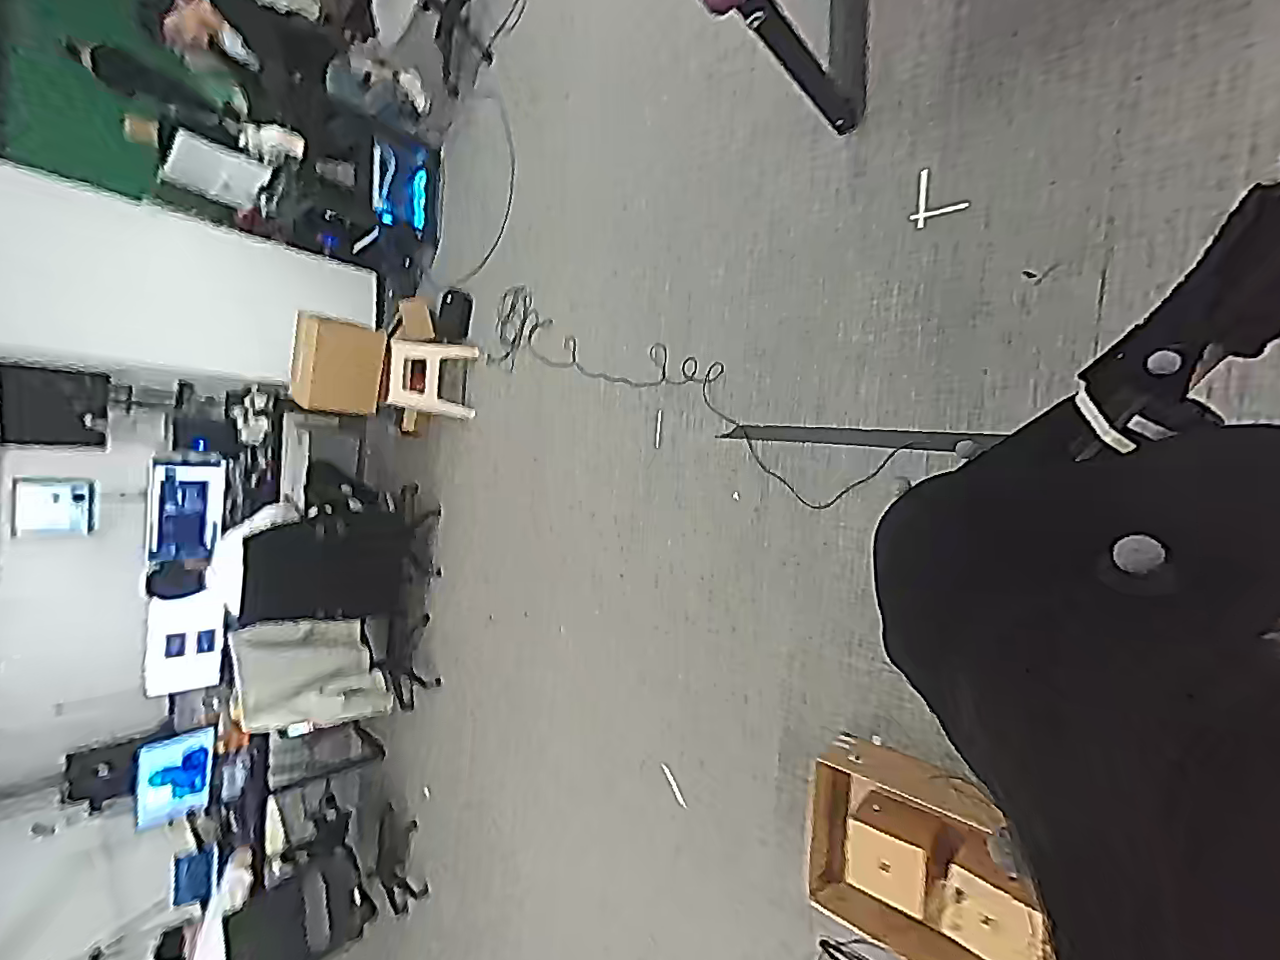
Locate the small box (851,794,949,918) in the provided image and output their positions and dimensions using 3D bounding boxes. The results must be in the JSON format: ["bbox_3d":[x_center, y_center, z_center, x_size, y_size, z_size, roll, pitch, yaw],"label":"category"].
[{"bbox_3d":[0.646,0.916,1.343,0.179,0.176,0.168,3,91,42],"label":"small box"}]

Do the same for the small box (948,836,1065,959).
[{"bbox_3d":[0.808,0.932,1.187,0.179,0.176,0.168,11,96,44],"label":"small box"}]
